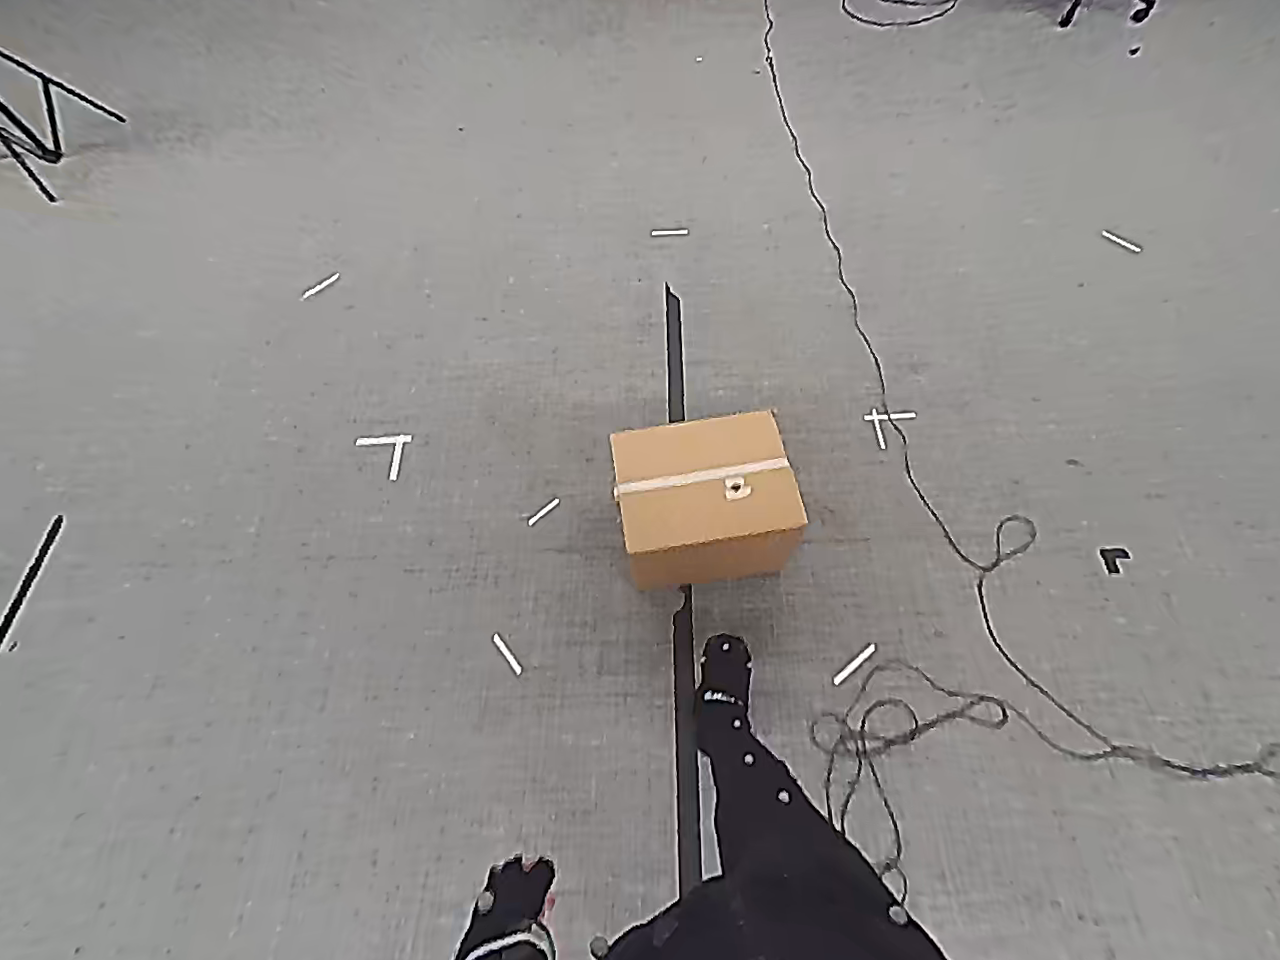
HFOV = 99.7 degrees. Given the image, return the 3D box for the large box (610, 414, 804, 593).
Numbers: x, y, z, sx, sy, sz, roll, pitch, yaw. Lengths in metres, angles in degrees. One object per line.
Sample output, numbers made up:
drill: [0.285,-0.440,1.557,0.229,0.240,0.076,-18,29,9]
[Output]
large box: [0.150,0.070,1.383,0.408,0.320,0.320,-9,62,-2]
